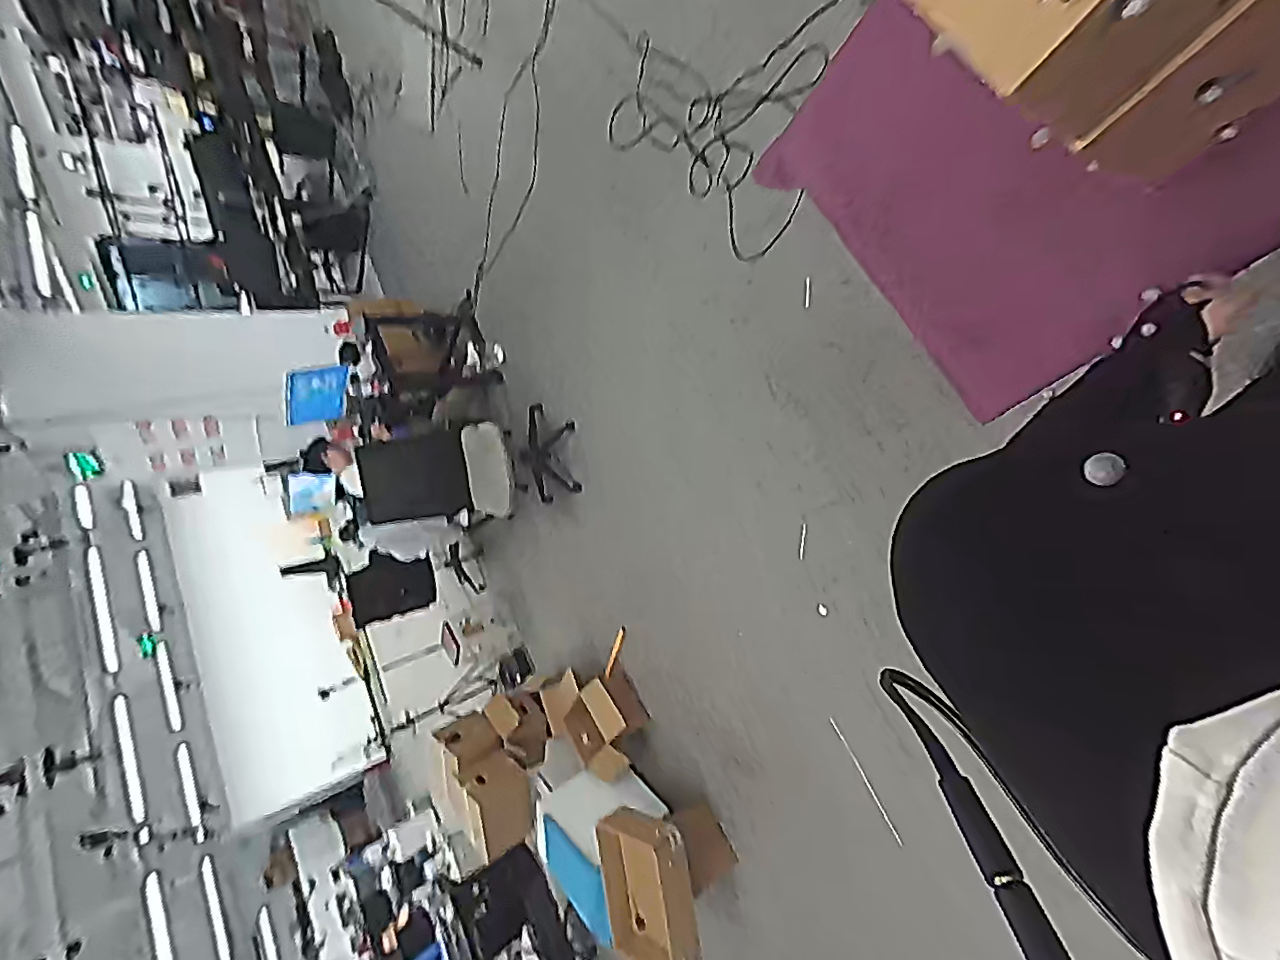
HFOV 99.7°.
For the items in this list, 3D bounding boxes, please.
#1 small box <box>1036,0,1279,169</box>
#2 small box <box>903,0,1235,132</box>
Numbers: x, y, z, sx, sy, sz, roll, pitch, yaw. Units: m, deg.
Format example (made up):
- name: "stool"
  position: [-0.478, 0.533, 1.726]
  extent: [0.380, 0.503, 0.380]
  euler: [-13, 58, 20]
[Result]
- name: "small box"
  position: [0.424, -0.399, 0.464]
  extent: [0.168, 0.176, 0.179]
  euler: [-44, 67, 48]
- name: "small box"
  position: [0.294, -0.374, 0.366]
  extent: [0.168, 0.176, 0.179]
  euler: [-47, 64, 48]
